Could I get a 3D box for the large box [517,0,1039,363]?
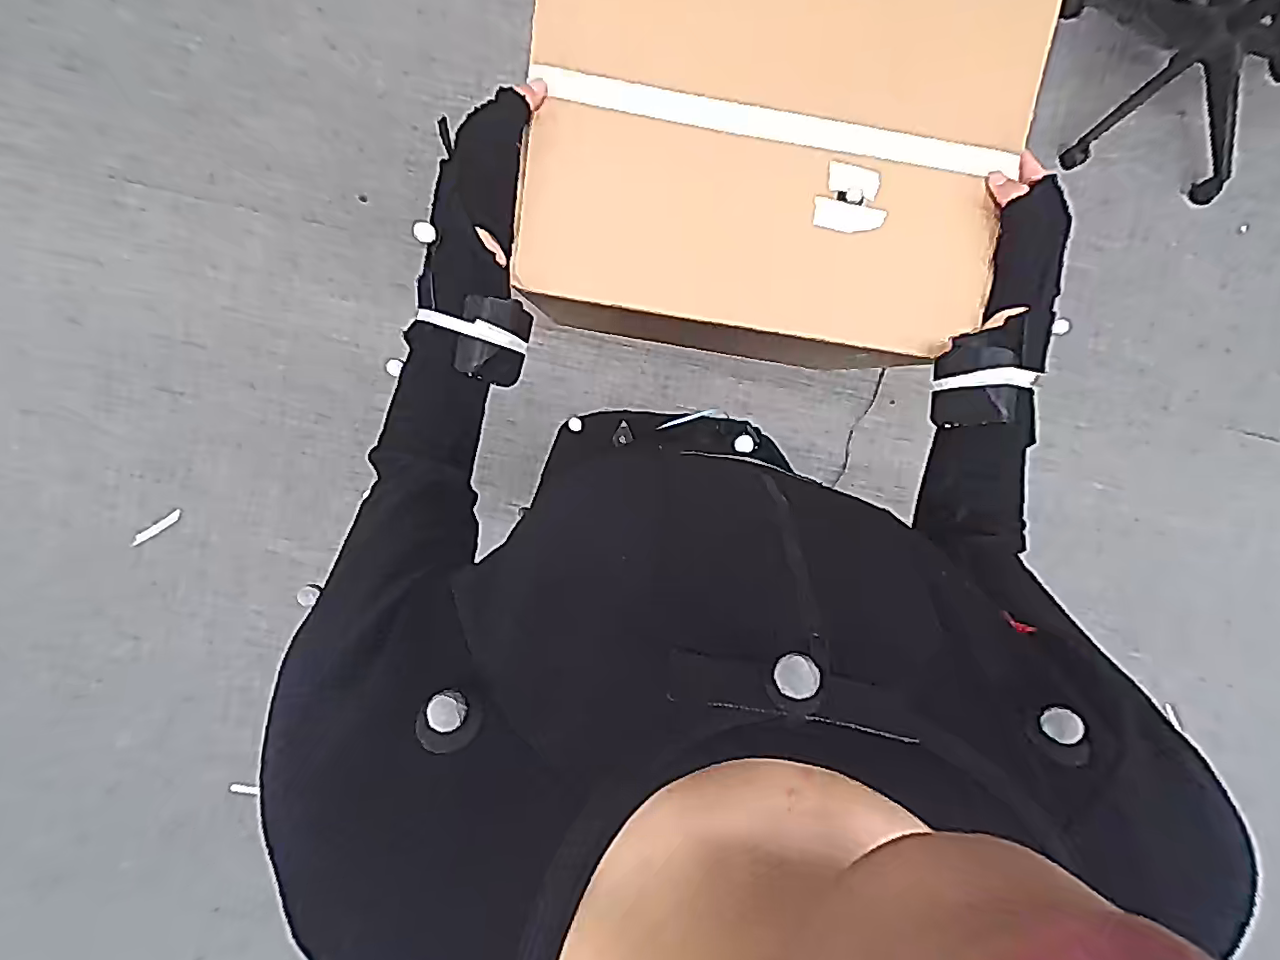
[{"bbox_3d":[0.101,-0.316,0.595,0.408,0.320,0.320,9,101,-5],"label":"large box"}]
